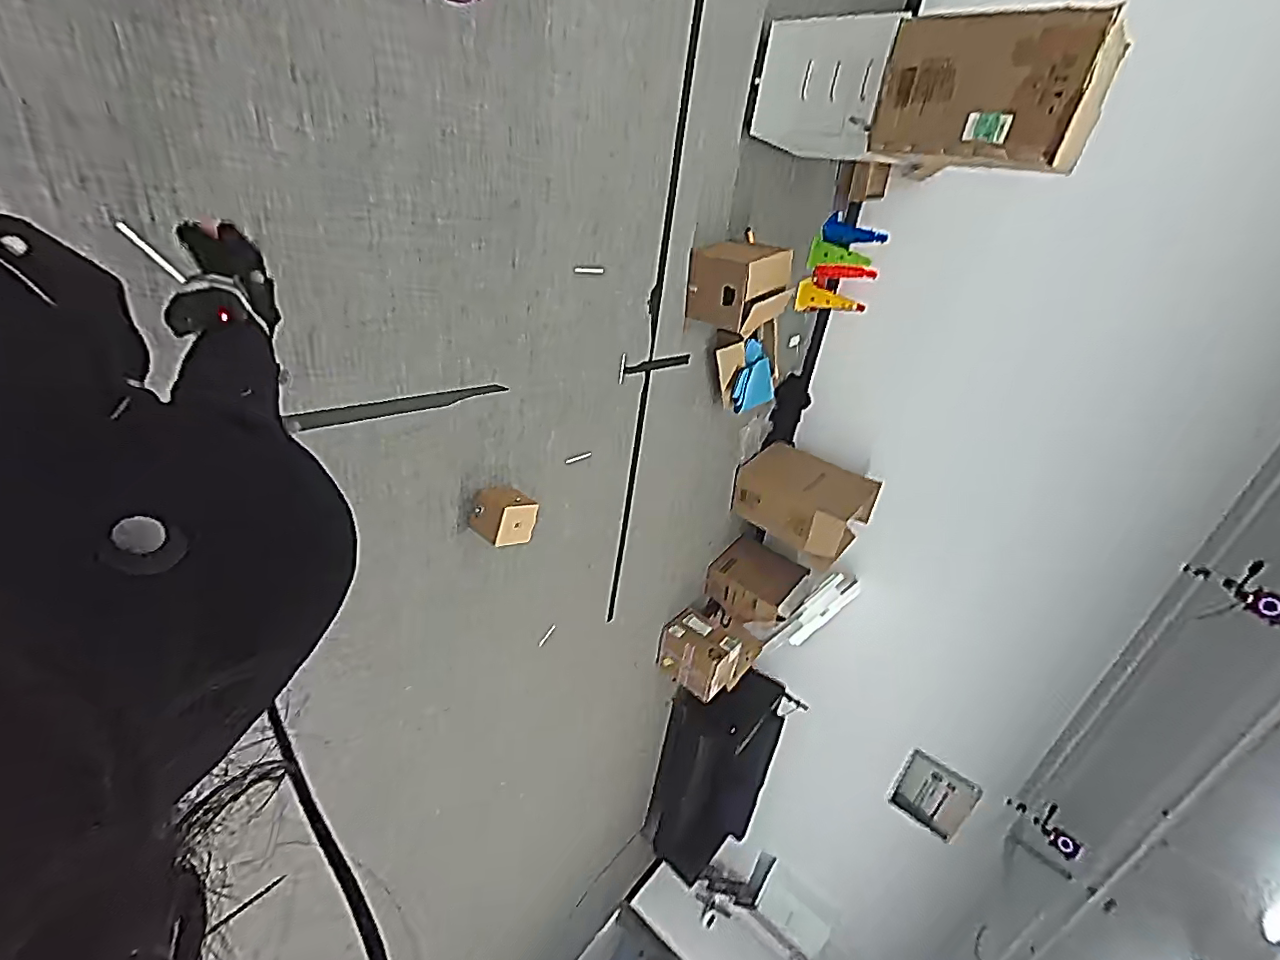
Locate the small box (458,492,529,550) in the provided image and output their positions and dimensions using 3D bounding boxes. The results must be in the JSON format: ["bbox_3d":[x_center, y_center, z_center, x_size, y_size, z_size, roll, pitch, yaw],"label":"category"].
[{"bbox_3d":[-0.563,0.152,2.074,0.179,0.176,0.168,-1,113,-55],"label":"small box"}]
